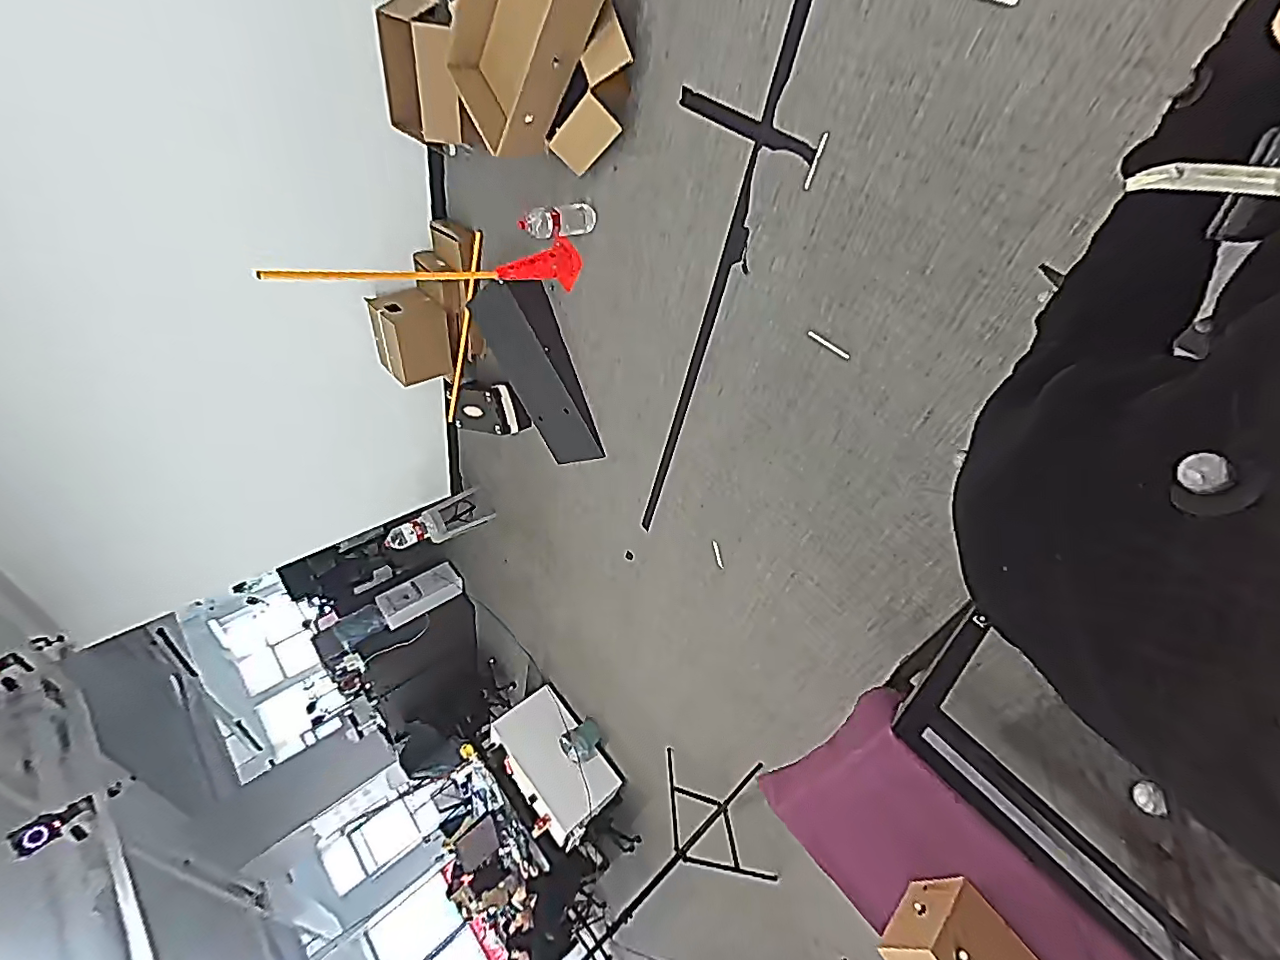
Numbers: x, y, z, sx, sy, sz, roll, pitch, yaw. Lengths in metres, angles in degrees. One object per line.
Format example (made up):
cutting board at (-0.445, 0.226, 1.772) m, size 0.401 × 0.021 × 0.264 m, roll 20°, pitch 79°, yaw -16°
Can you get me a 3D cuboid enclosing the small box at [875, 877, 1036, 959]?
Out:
small box at (0.604, 0.902, 1.041) m, size 0.179 × 0.176 × 0.168 m, roll 47°, pitch 143°, yaw 20°
